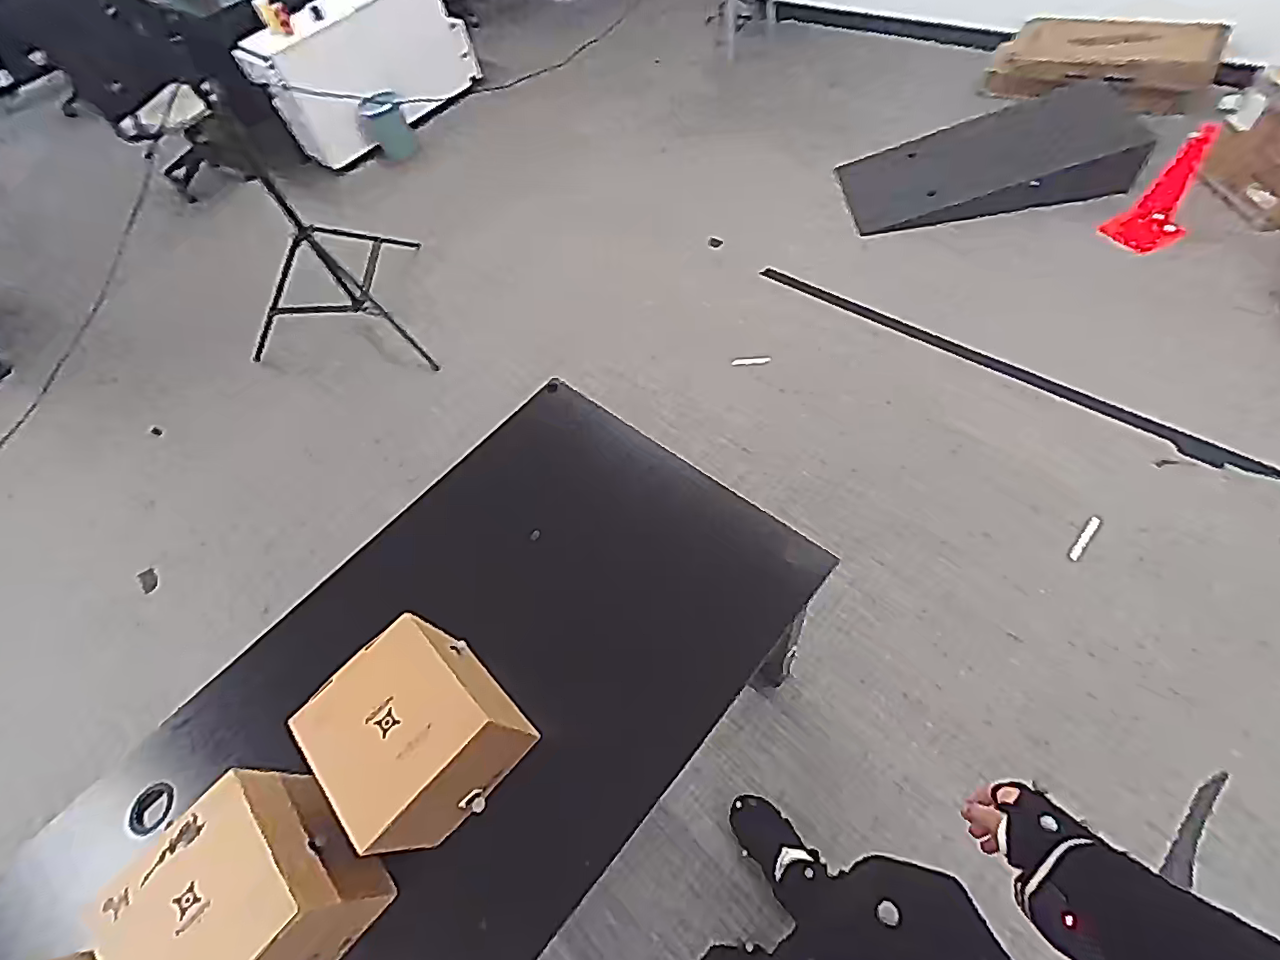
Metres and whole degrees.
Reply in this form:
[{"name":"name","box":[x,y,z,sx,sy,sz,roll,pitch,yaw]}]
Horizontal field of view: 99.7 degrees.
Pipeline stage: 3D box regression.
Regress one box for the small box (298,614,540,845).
[{"name":"small box","box":[-0.254,0.299,0.654,0.179,0.176,0.168,36,73,27]}]

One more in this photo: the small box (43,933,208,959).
[{"name":"small box","box":[-0.551,0.598,0.524,0.168,0.176,0.179,33,69,26]}]
